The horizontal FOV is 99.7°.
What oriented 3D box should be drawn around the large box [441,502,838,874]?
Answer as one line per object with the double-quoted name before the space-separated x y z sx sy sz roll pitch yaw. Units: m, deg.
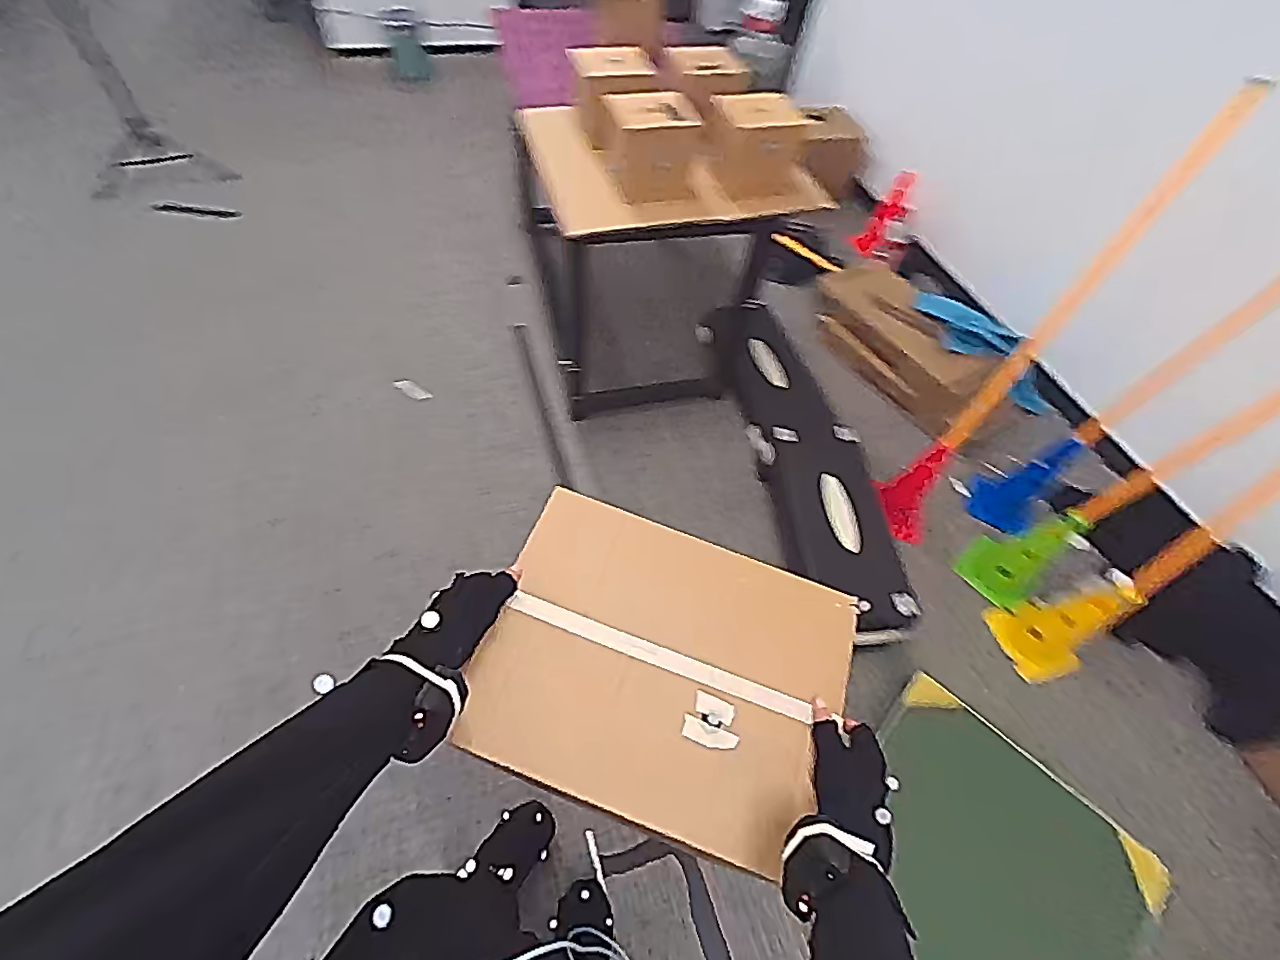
"large box" 0.003 0.286 0.750 0.408 0.320 0.320 19 59 3
